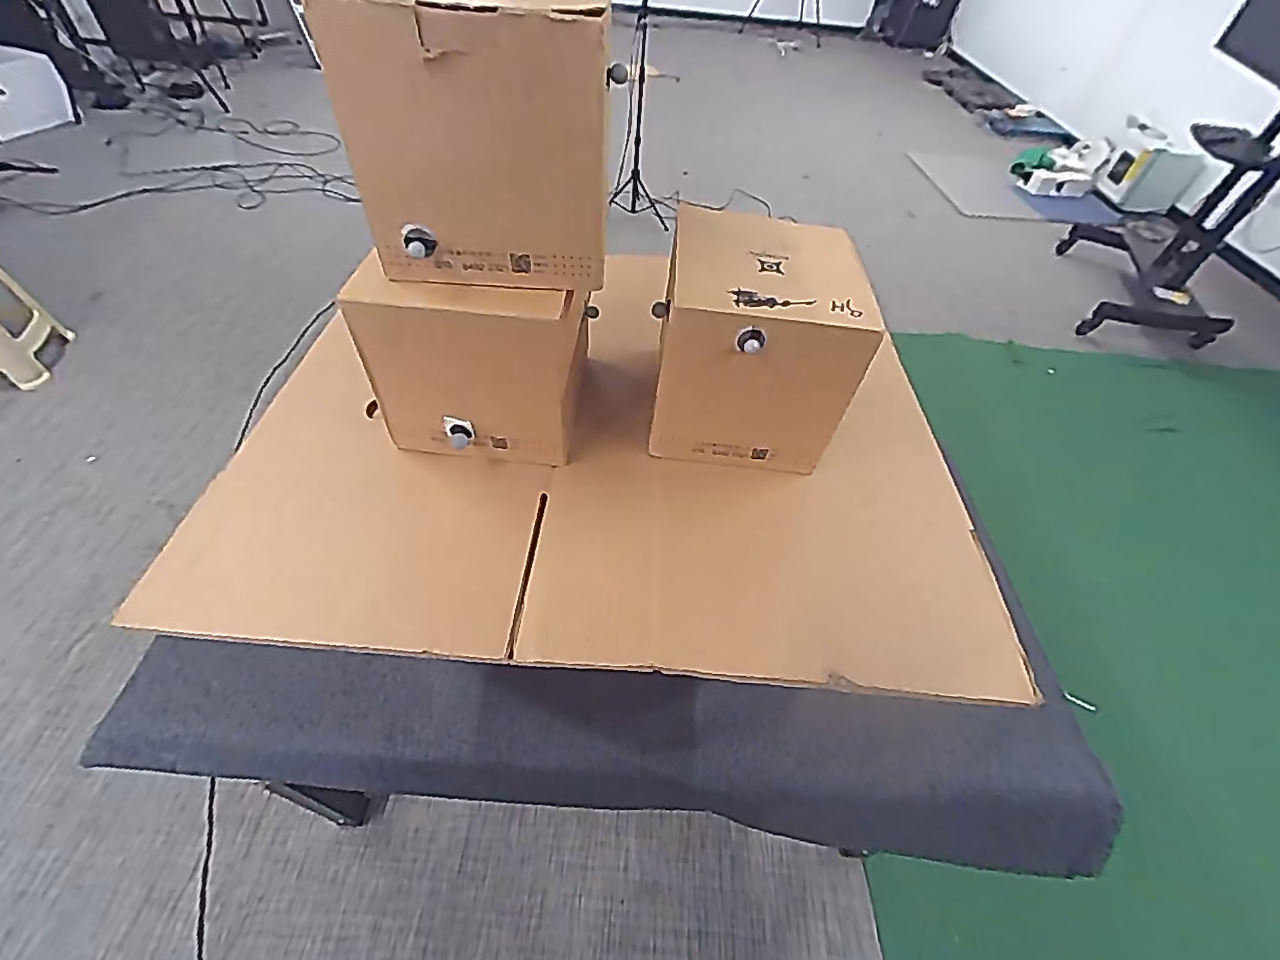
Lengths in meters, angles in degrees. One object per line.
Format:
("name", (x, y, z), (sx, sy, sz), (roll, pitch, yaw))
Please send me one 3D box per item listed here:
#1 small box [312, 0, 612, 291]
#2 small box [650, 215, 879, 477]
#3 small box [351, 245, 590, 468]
("small box", (-0.107, -0.264, 0.418), (0.168, 0.176, 0.179), (2, 48, -3))
("small box", (0.103, -0.129, 0.530), (0.168, 0.176, 0.179), (7, 49, -1))
("small box", (-0.138, -0.135, 0.521), (0.168, 0.176, 0.179), (4, 51, 0))
